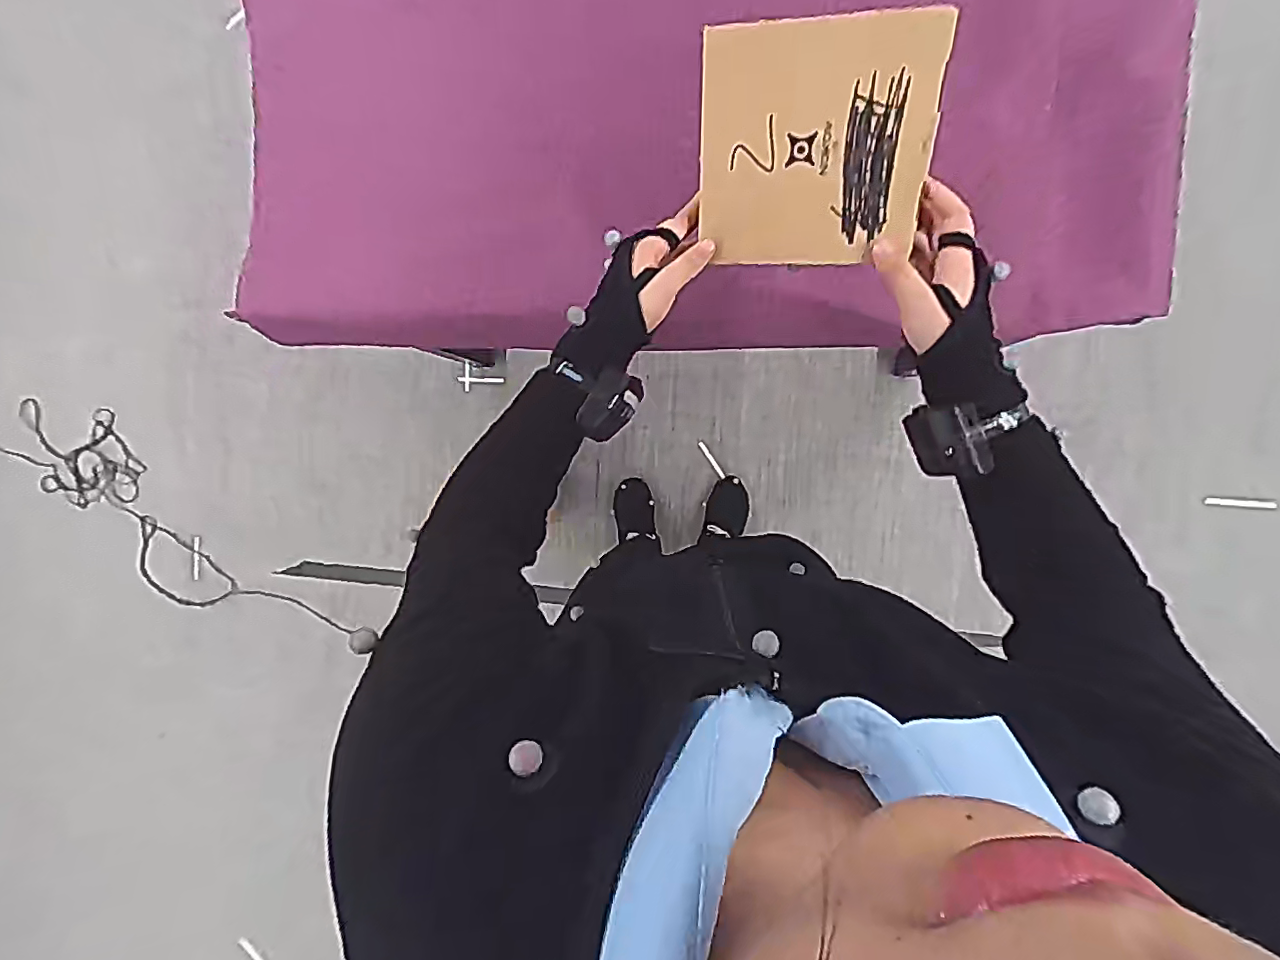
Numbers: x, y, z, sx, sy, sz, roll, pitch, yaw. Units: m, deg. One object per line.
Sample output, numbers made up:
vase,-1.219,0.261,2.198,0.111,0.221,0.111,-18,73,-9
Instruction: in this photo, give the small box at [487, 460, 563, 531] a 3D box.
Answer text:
small box,-0.314,0.044,1.462,0.168,0.176,0.179,9,95,6
